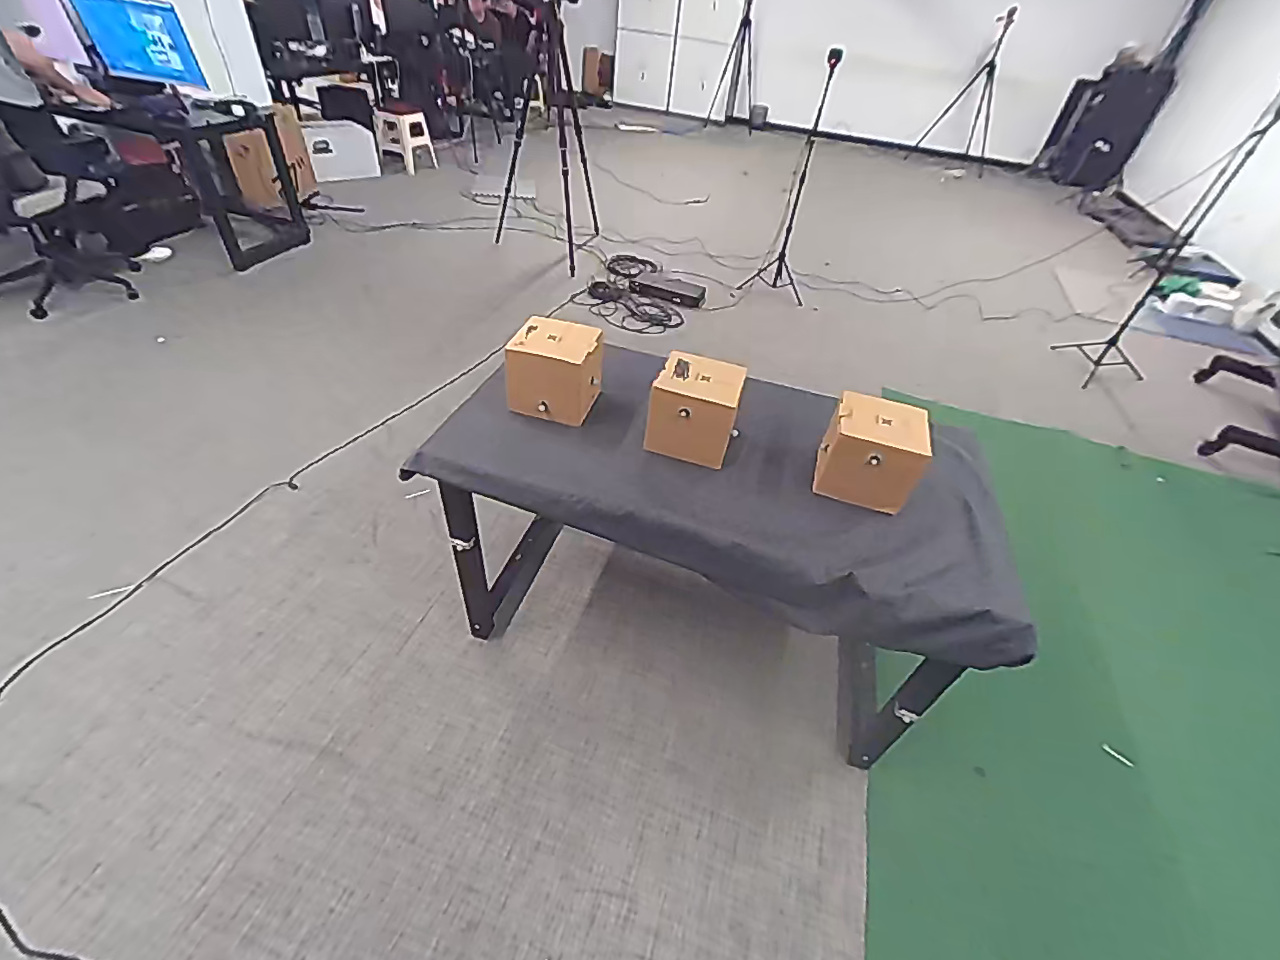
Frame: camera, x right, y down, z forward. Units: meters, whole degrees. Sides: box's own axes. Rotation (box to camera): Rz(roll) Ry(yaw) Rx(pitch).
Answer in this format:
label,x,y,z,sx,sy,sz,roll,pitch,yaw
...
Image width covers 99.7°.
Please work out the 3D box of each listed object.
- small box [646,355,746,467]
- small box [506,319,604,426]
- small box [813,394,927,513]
label,x,y,z,sx,sy,sz,roll,pitch,yaw
small box,0.121,-0.151,1.198,0.179,0.176,0.168,16,43,8
small box,-0.194,-0.246,1.258,0.179,0.176,0.168,14,43,6
small box,0.479,-0.054,1.145,0.179,0.176,0.168,17,44,9
